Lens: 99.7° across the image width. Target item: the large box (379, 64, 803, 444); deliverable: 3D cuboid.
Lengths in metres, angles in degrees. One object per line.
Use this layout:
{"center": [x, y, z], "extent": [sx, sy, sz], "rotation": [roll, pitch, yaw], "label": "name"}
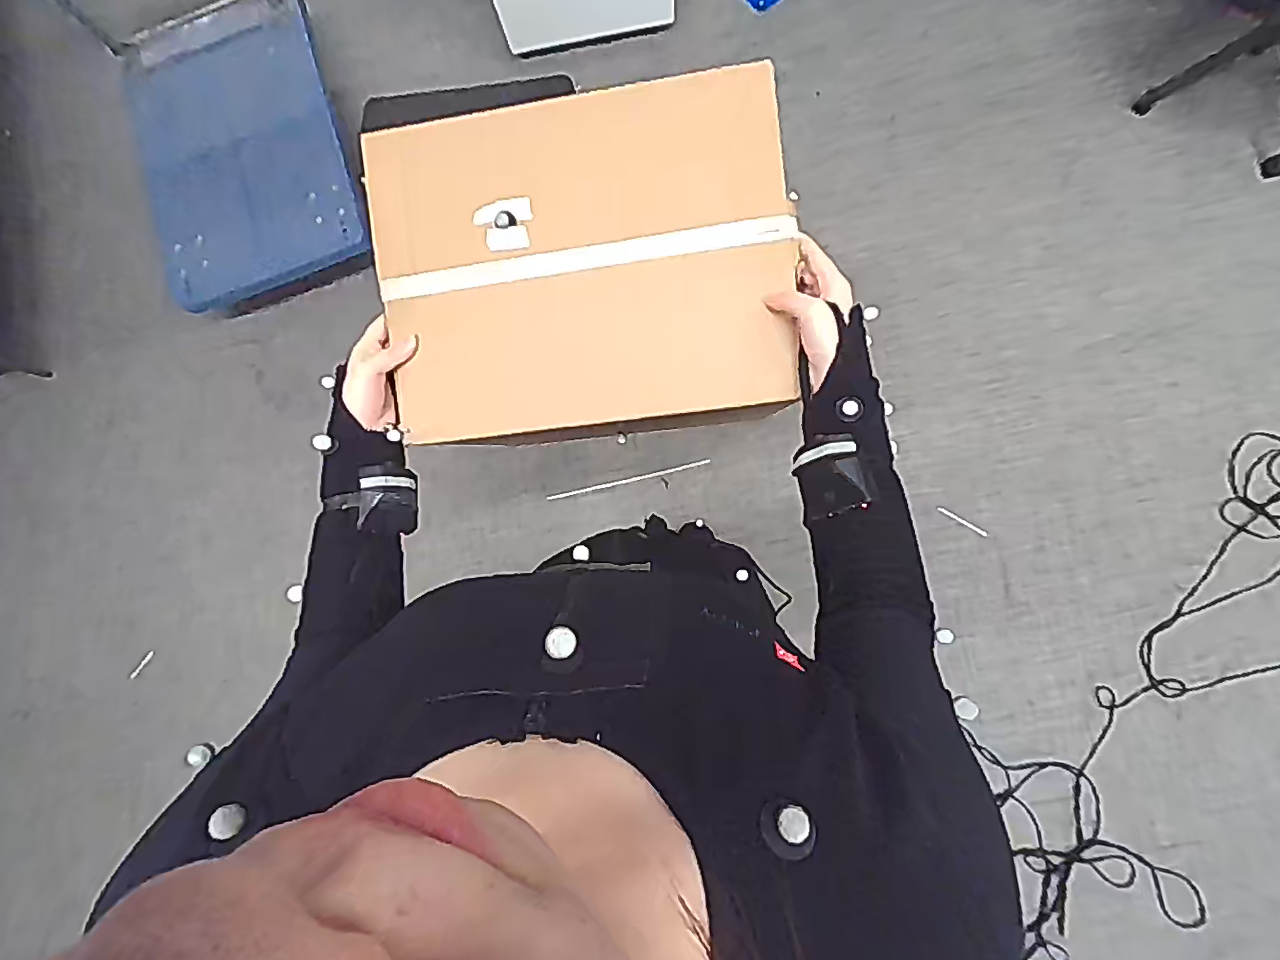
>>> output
{"center": [-0.036, -0.225, 0.685], "extent": [0.408, 0.320, 0.320], "rotation": [-7, 92, 8], "label": "large box"}
